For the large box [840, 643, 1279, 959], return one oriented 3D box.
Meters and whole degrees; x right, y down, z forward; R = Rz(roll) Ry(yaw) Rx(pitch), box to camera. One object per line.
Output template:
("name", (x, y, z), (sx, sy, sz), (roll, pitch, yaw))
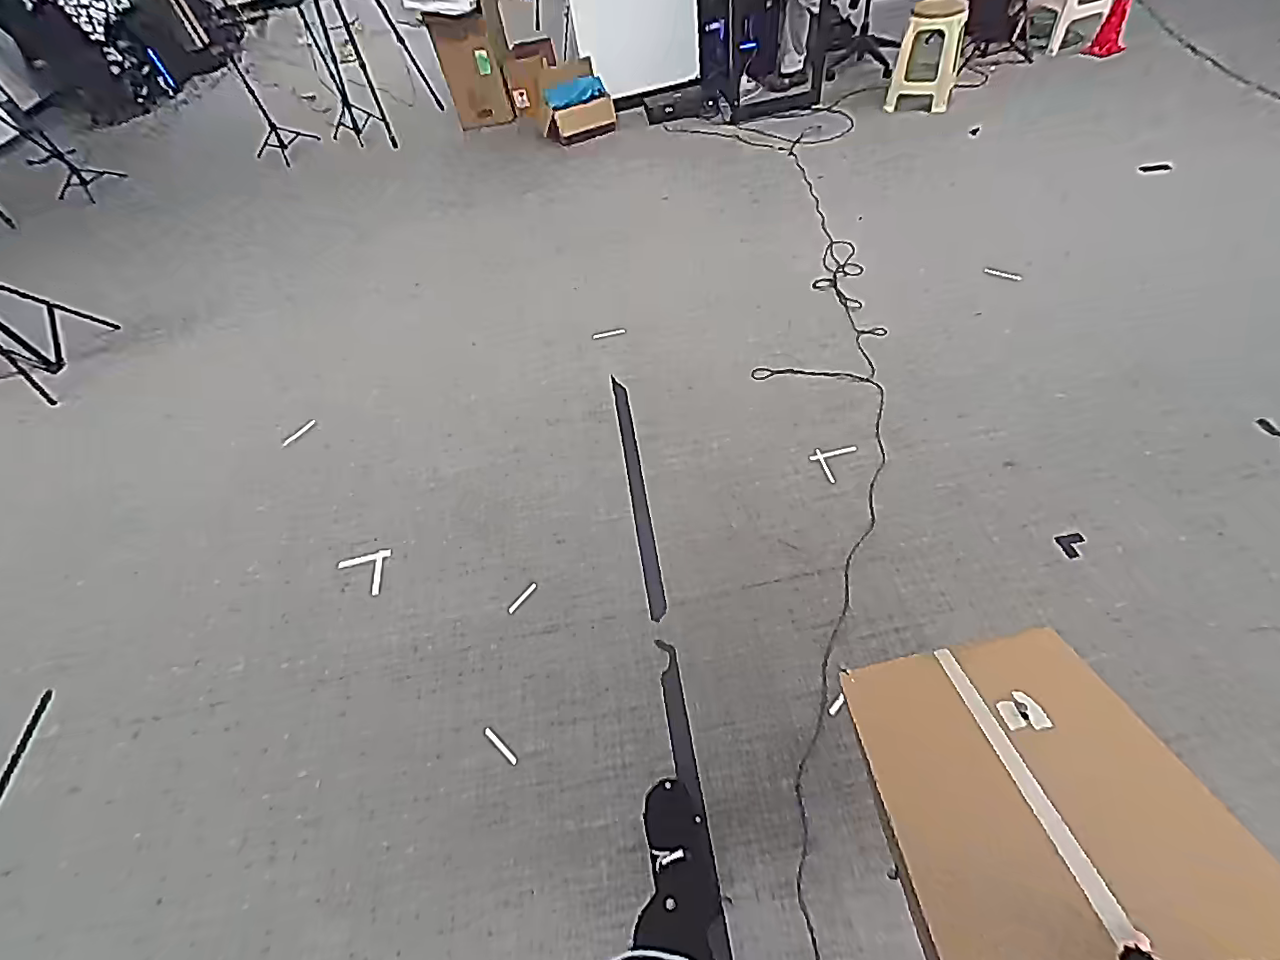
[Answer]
("large box", (0.499, 0.490, 0.703), (0.320, 0.320, 0.408), (-15, 19, 11))
